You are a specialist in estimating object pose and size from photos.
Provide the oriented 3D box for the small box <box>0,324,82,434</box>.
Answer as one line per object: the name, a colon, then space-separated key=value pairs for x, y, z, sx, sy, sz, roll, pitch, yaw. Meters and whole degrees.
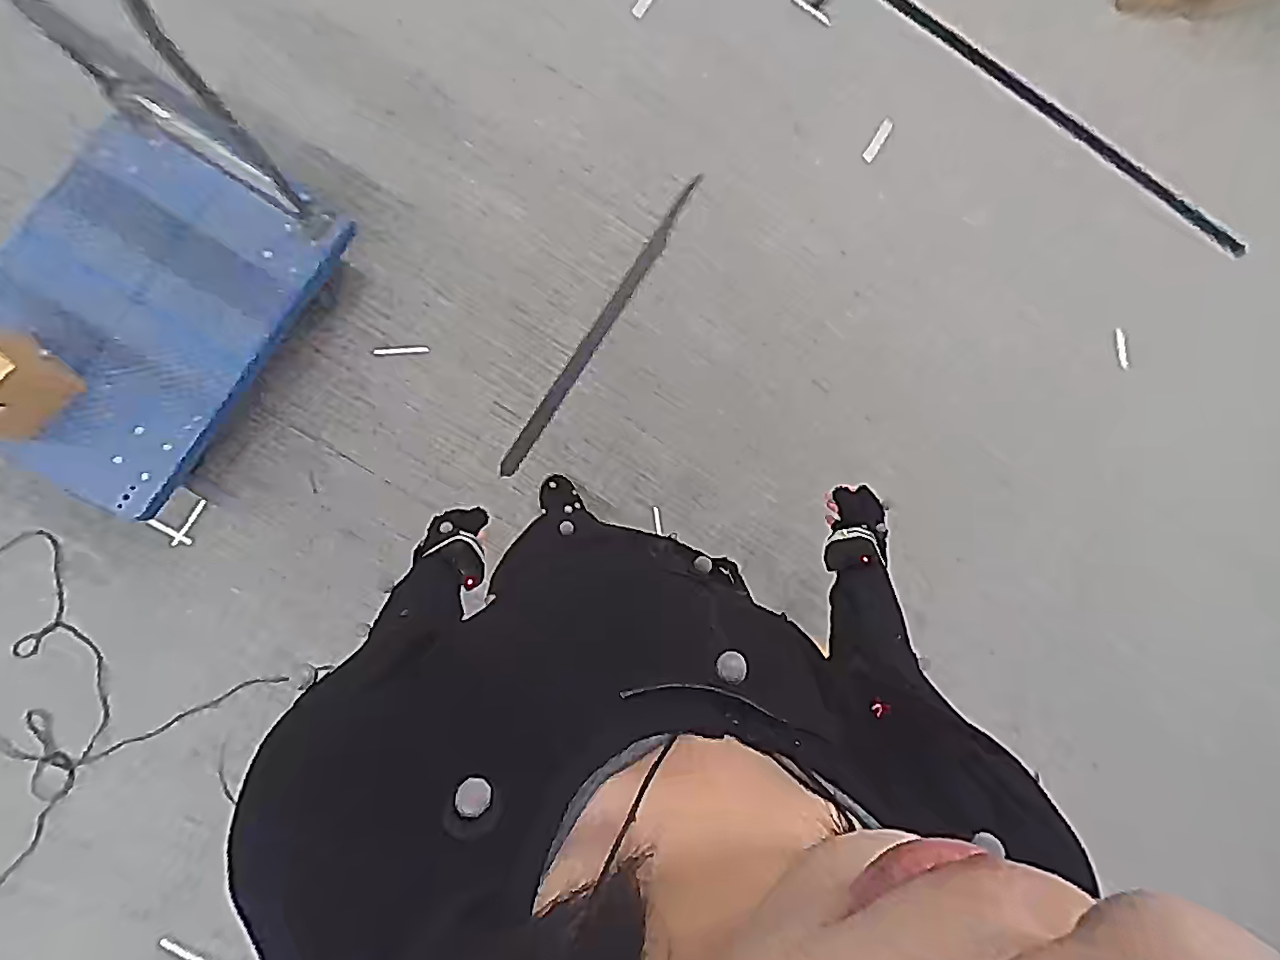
small box: x=-1.350 y=-0.215 z=1.122 sx=0.168 sy=0.176 sz=0.179 roll=42 pitch=82 yaw=-3

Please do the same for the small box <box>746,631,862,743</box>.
small box: x=0.393 y=0.493 z=1.322 sx=0.179 sy=0.176 sz=0.168 roll=36 pitch=84 yaw=-5

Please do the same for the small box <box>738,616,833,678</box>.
small box: x=0.389 y=0.499 z=1.486 sx=0.168 sy=0.176 sz=0.179 roll=29 pitch=84 yaw=-5
